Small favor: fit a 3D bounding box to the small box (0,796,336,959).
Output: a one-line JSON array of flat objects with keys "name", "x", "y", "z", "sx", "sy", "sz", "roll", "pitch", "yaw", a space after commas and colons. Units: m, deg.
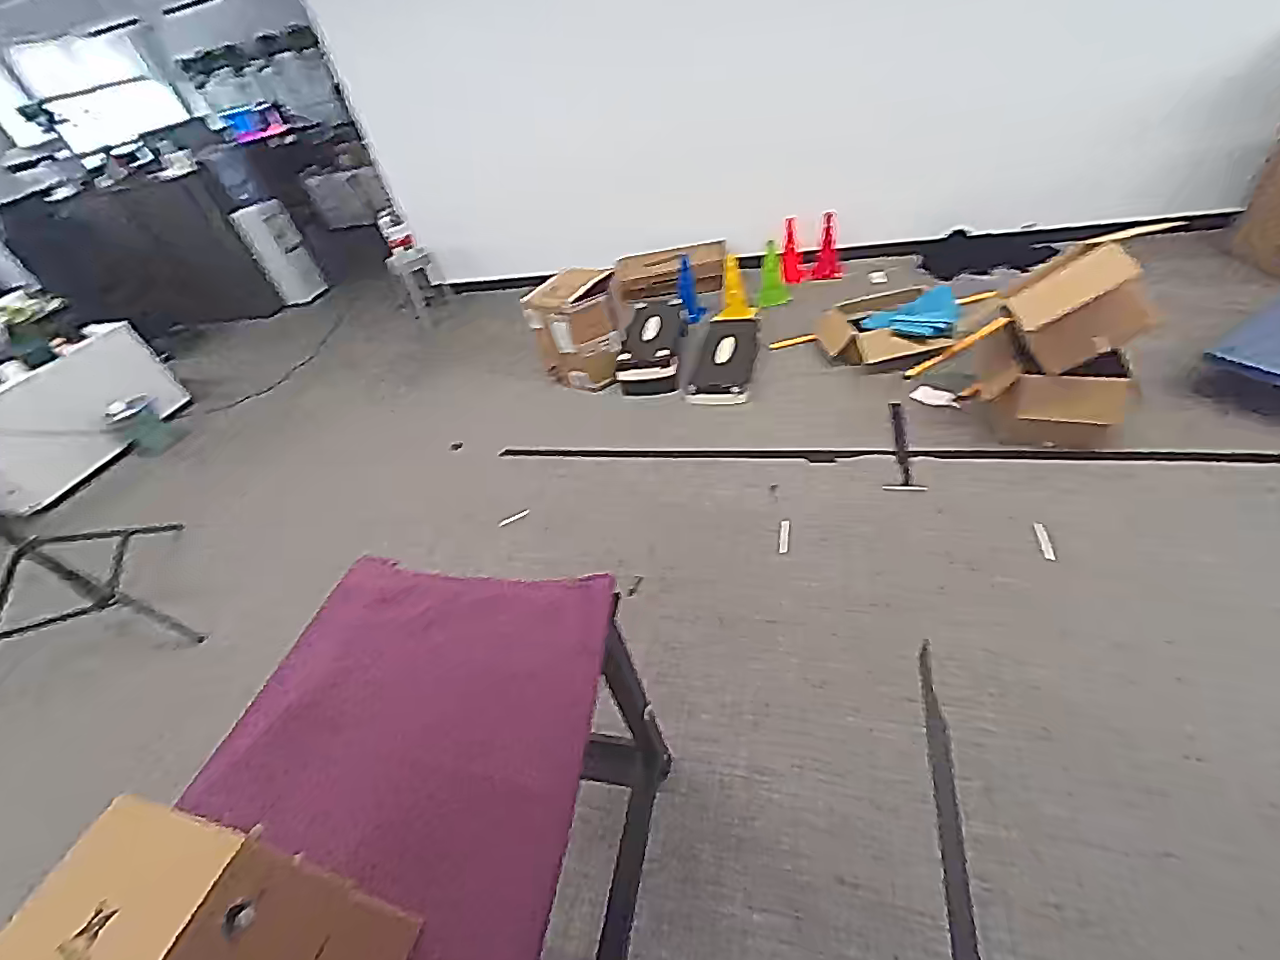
[{"name": "small box", "x": -0.406, "y": 0.413, "z": 0.468, "sx": 0.168, "sy": 0.176, "sz": 0.179, "roll": 2, "pitch": 44, "yaw": 19}]
